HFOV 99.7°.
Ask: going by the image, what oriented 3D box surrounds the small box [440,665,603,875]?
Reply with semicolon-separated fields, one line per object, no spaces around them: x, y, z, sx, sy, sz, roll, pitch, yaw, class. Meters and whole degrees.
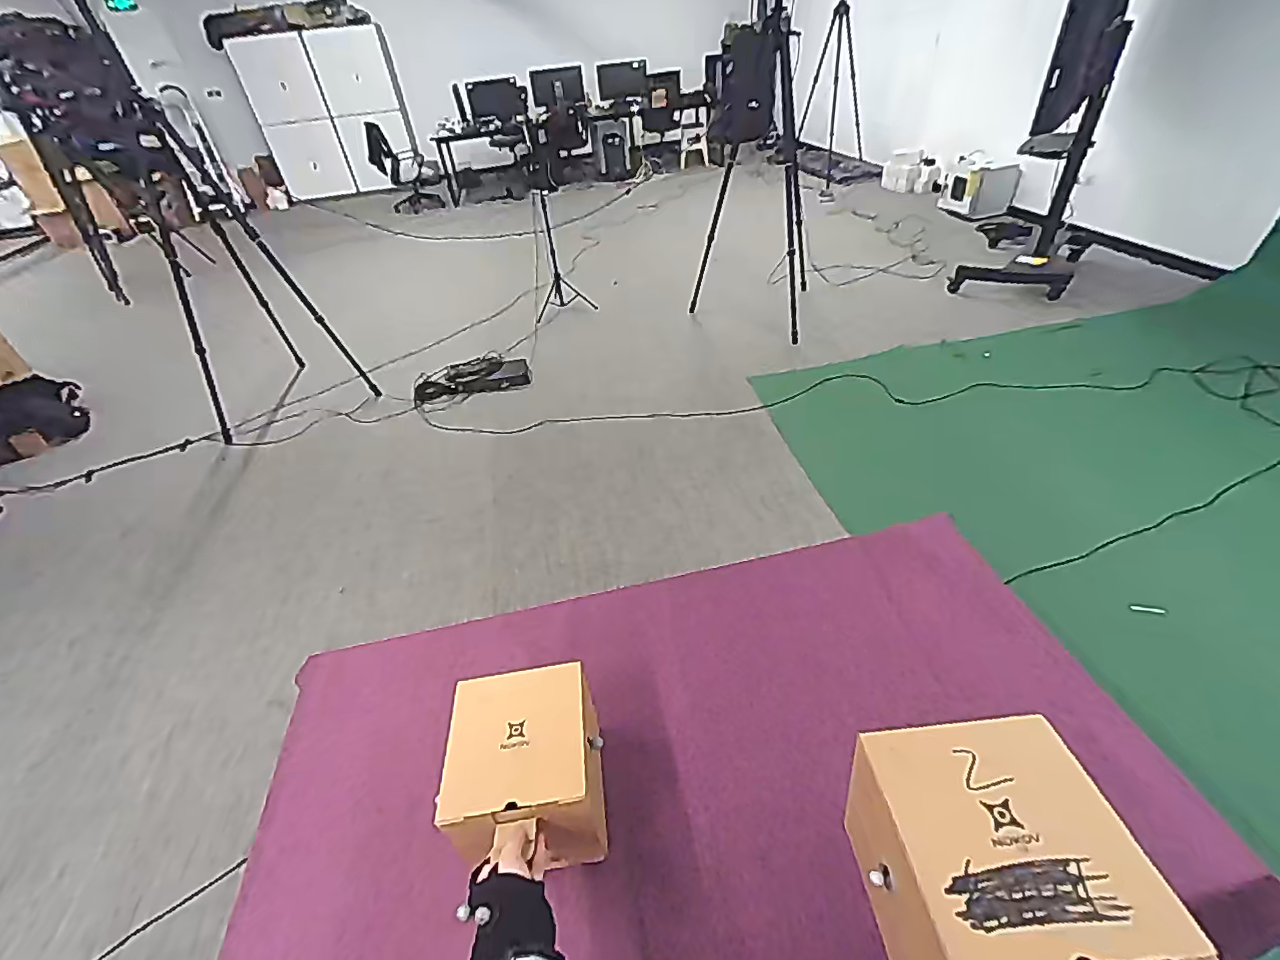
-0.143;0.376;0.709;0.168;0.176;0.179;-9;37;-3;small box
